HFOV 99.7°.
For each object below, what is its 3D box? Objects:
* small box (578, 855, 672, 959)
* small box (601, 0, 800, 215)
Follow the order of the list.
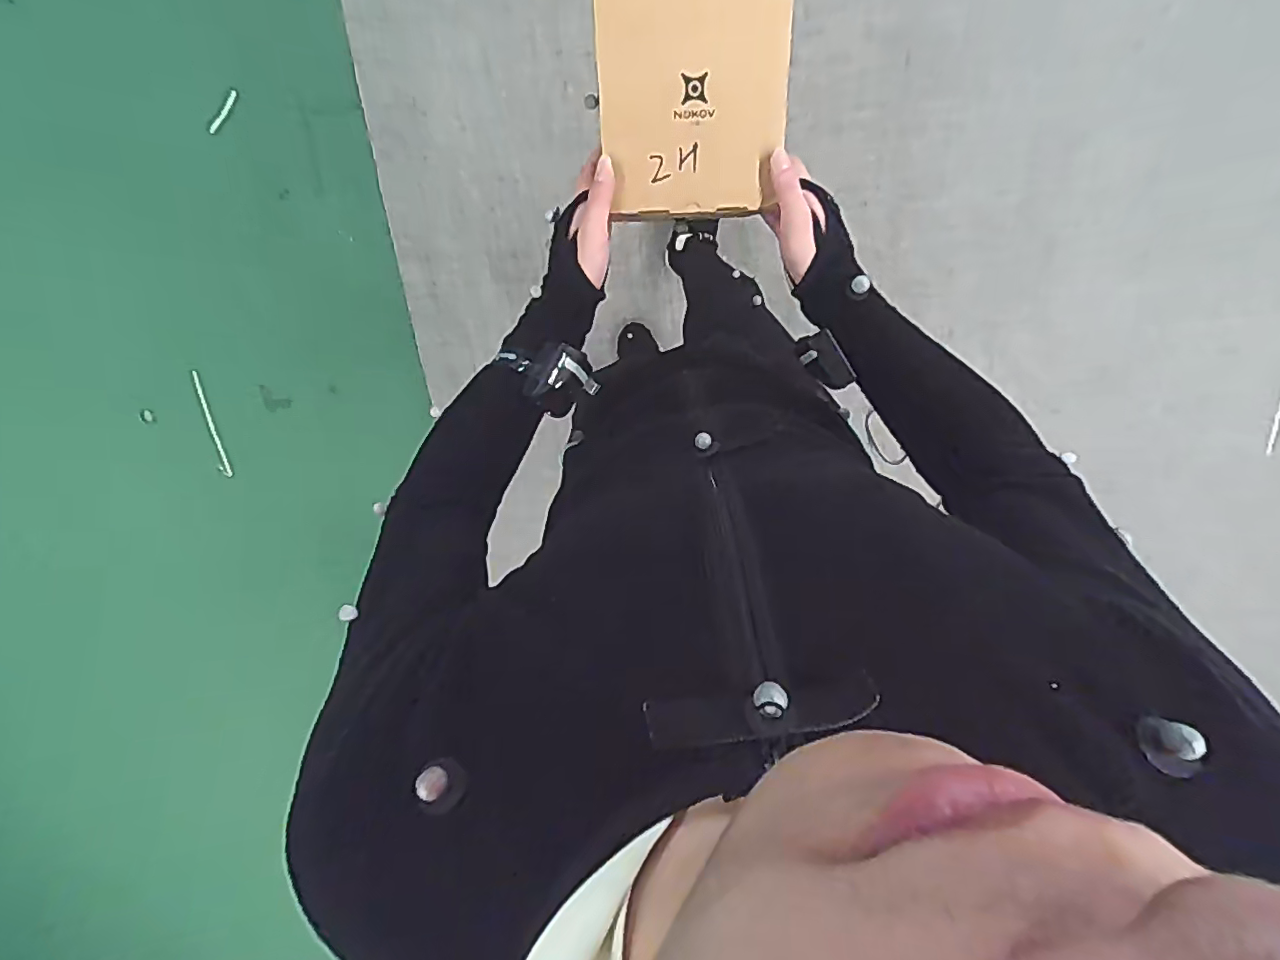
[{"bbox_3d":[-0.026,0.930,1.136,0.179,0.176,0.168,-6,110,1],"label":"small box"},{"bbox_3d":[0.047,-0.365,0.534,0.168,0.176,0.179,-2,114,-1],"label":"small box"}]
